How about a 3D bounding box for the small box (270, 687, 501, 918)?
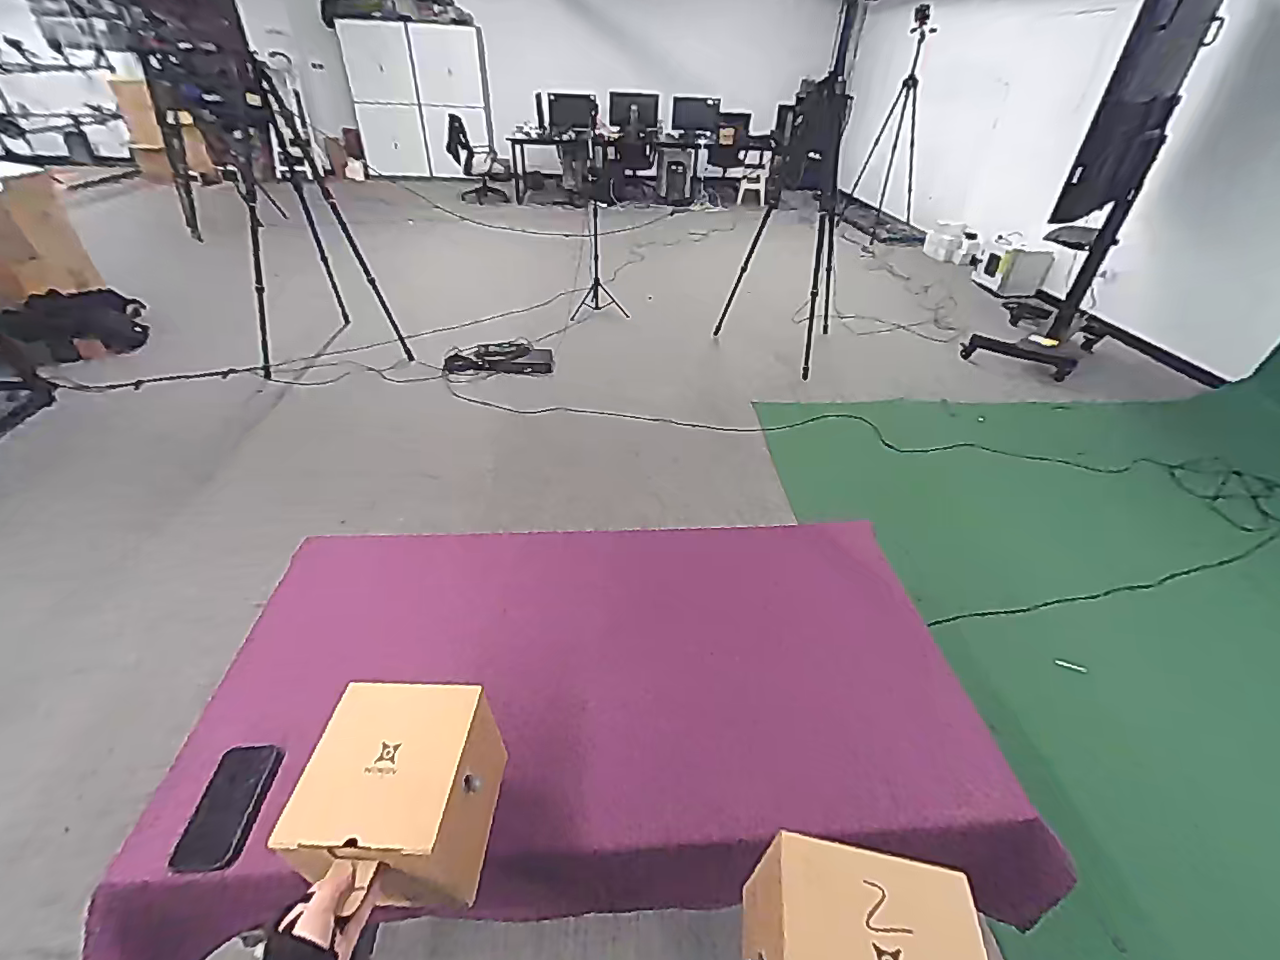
[{"bbox_3d":[-0.267,0.367,0.623,0.168,0.176,0.179,2,38,3],"label":"small box"}]
